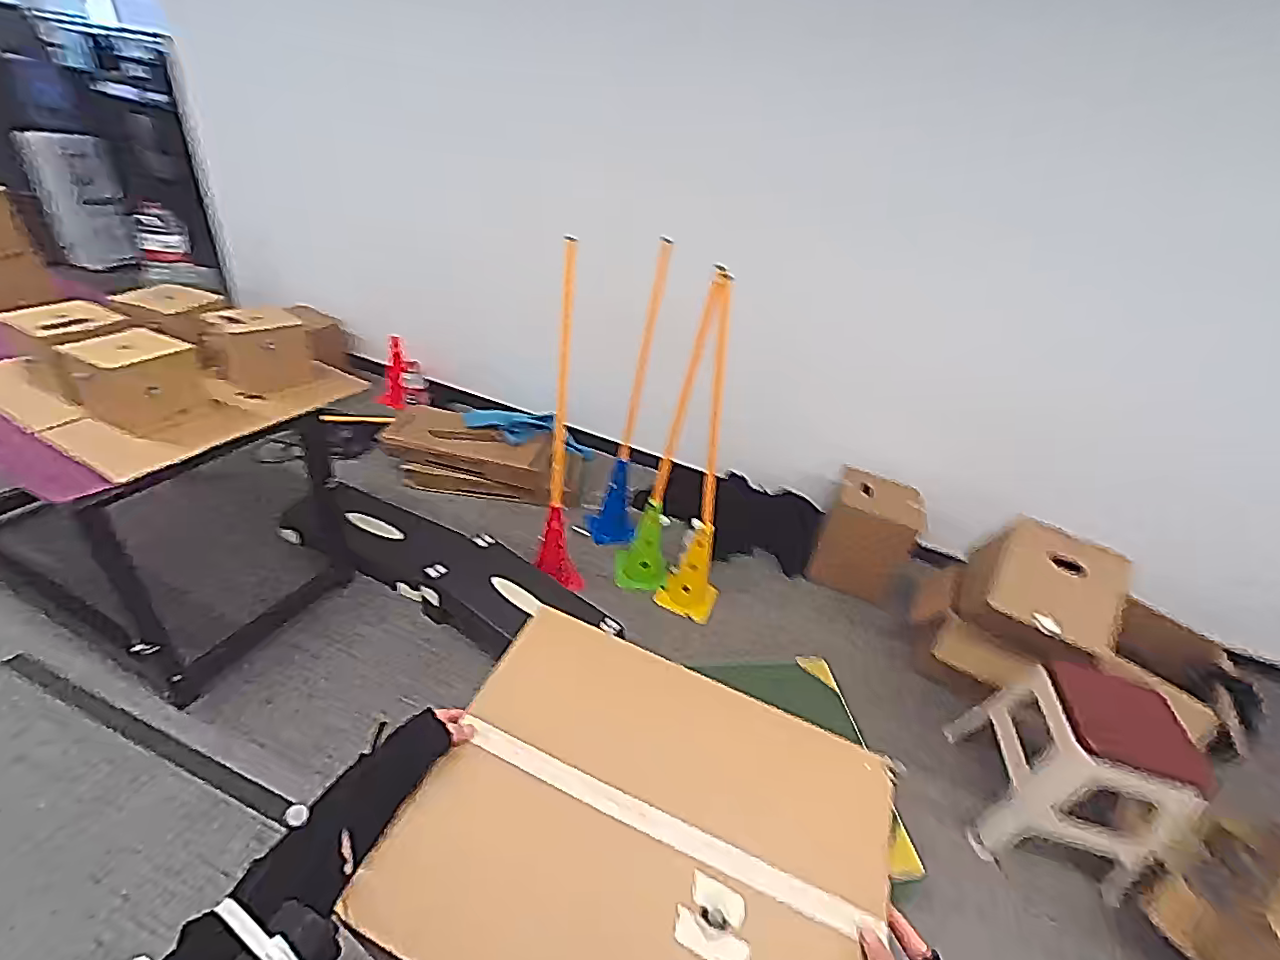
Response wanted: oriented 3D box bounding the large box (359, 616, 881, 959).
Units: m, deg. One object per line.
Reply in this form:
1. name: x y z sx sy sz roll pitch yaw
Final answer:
1. large box: -0.009 0.422 0.583 0.408 0.320 0.320 22 41 10
